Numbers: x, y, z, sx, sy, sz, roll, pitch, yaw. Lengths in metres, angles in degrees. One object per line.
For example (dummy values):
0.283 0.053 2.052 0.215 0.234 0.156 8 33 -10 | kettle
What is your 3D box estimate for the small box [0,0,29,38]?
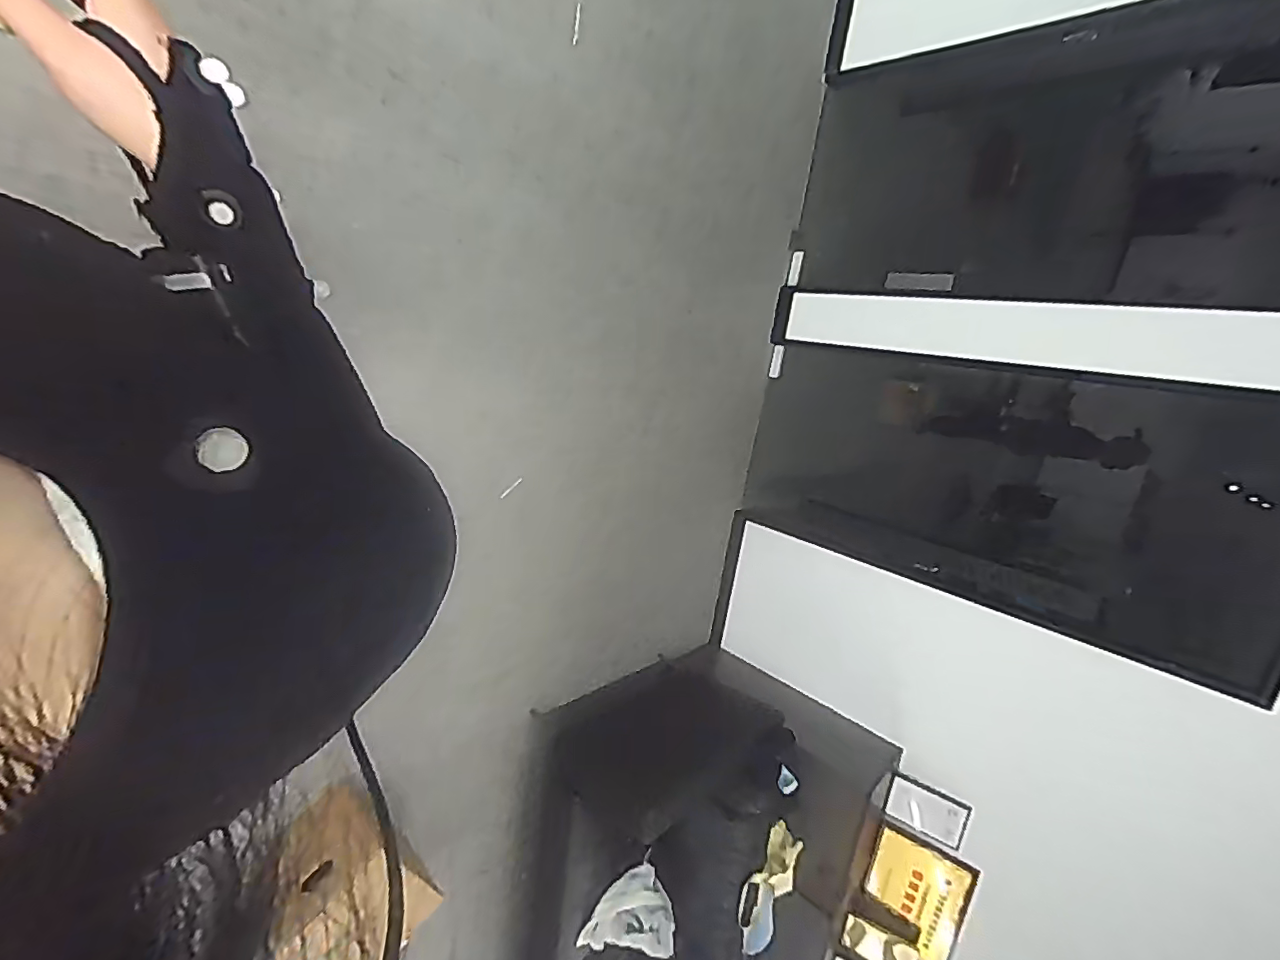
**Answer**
-0.398 -0.322 0.227 0.179 0.176 0.168 -6 122 -42 | small box
